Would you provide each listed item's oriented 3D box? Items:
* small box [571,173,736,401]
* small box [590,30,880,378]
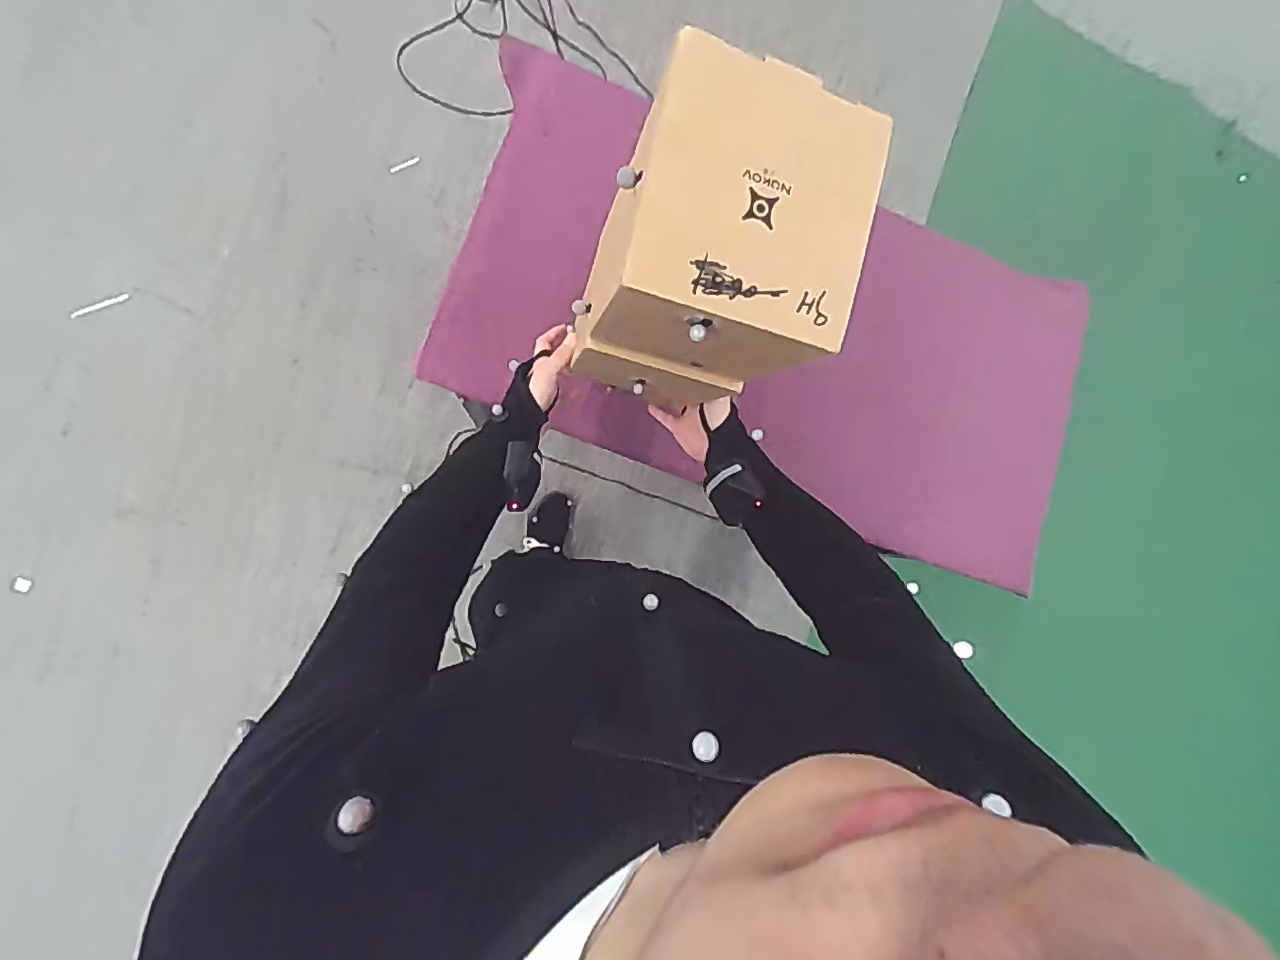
[{"bbox_3d":[0.022,-0.196,0.609,0.168,0.176,0.179,14,89,-13],"label":"small box"},{"bbox_3d":[0.061,-0.199,0.450,0.168,0.176,0.179,14,89,-12],"label":"small box"}]
